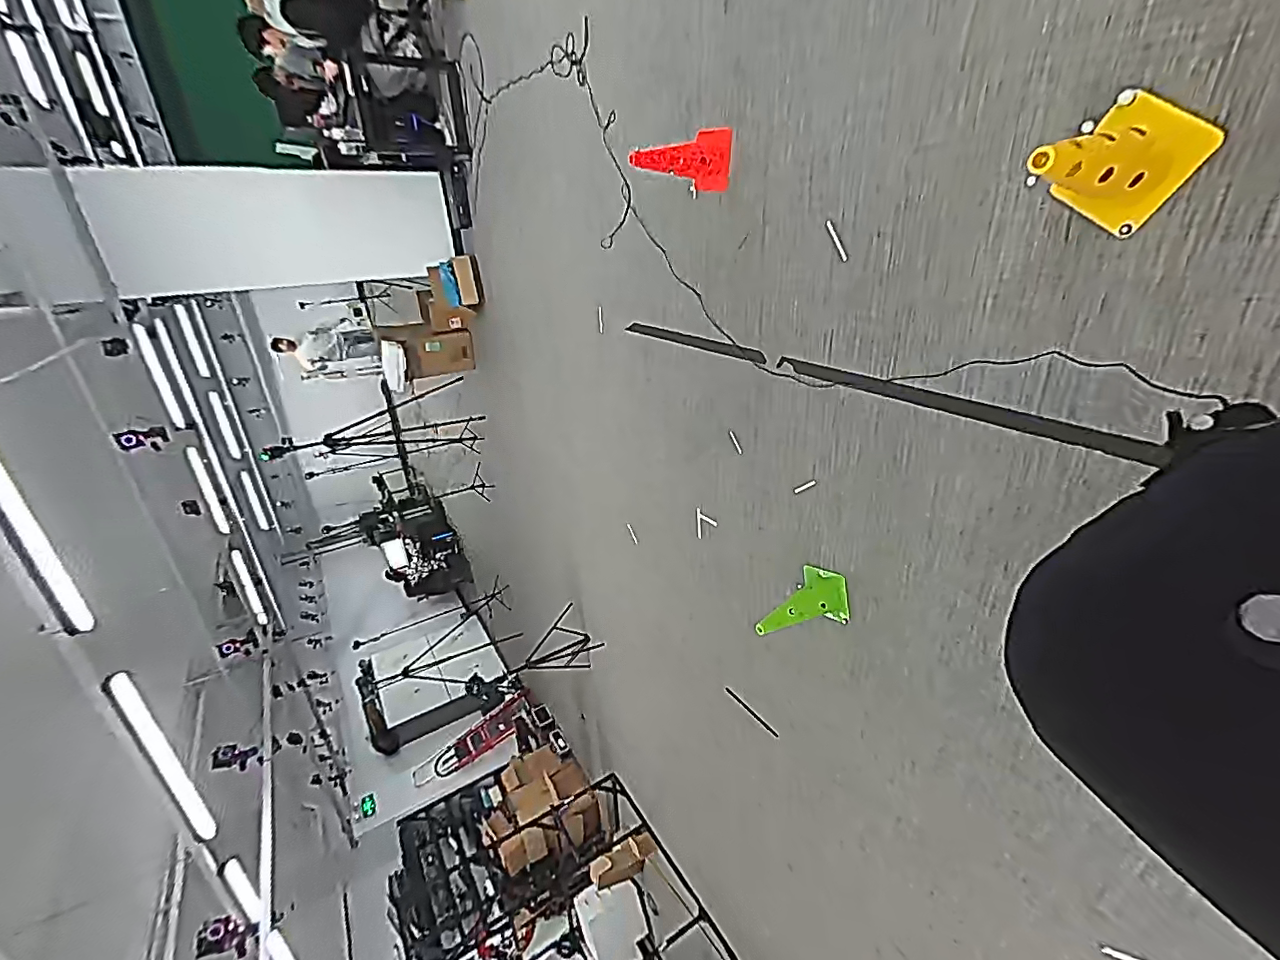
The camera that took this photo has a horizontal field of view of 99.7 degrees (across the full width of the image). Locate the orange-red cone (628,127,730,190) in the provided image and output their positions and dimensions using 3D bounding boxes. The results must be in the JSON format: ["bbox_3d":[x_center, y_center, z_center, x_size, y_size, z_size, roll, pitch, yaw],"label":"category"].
[{"bbox_3d":[0.119,-1.141,1.920,0.199,0.360,0.198,39,138,45],"label":"orange-red cone"}]

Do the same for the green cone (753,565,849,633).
[{"bbox_3d":[0.574,0.482,2.017,0.202,0.368,0.200,10,113,61],"label":"green cone"}]
